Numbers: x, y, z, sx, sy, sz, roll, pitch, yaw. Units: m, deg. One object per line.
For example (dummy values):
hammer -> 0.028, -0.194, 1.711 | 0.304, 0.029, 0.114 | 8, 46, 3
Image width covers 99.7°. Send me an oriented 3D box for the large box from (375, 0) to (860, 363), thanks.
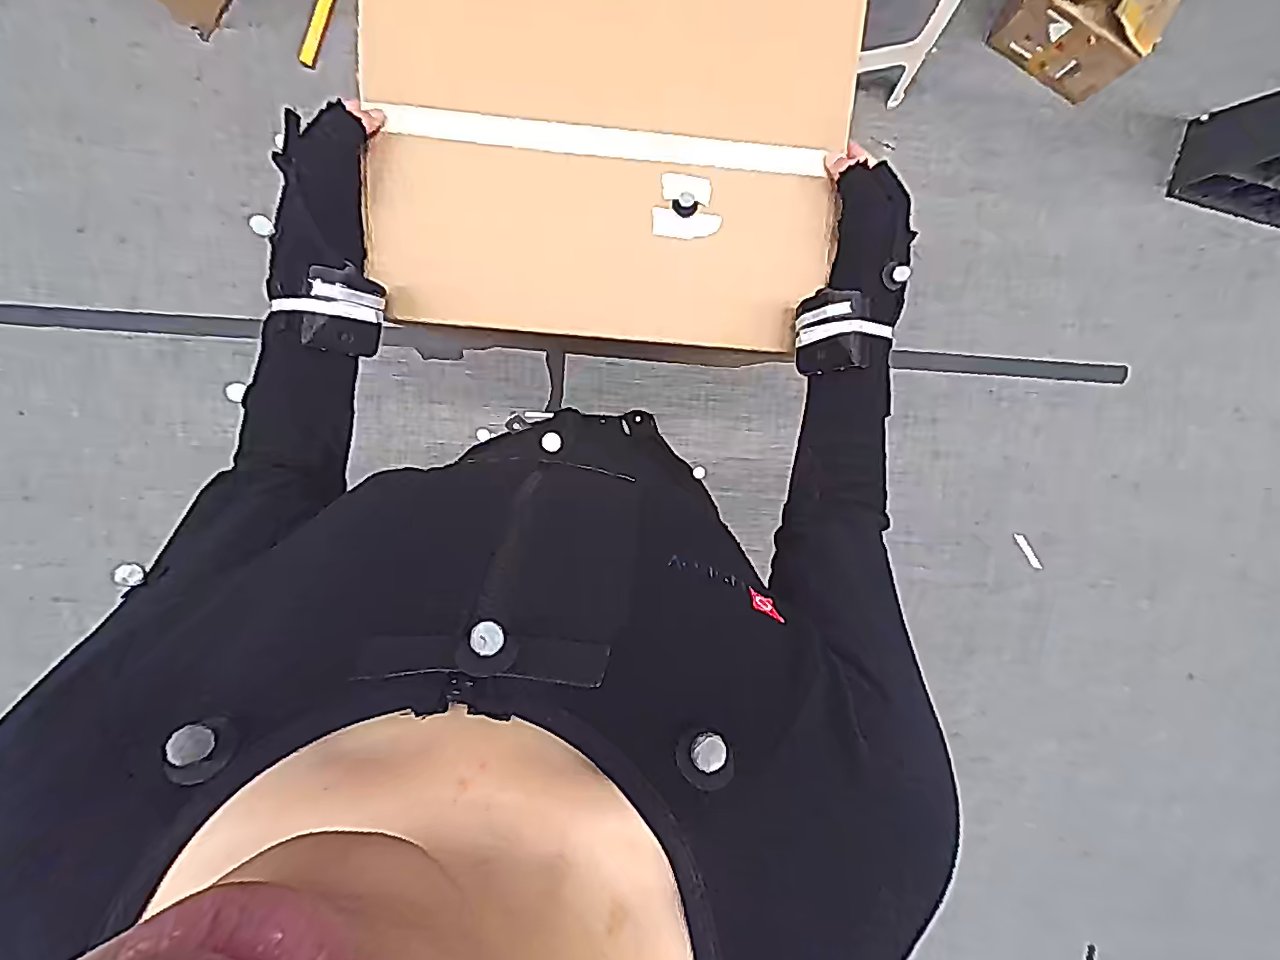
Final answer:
large box -> -0.032, -0.308, 0.606 | 0.408, 0.320, 0.320 | 4, 100, -5
